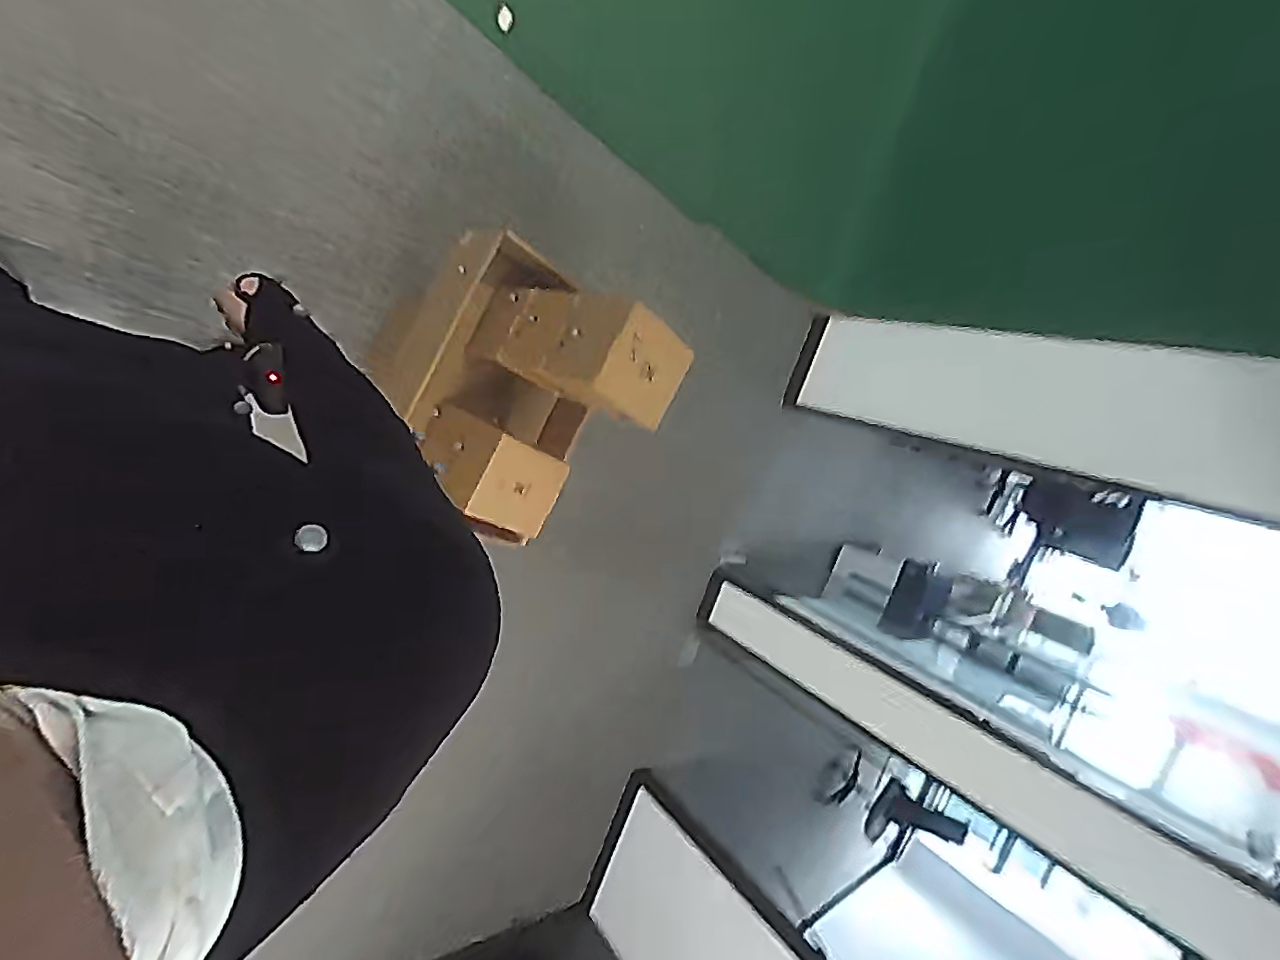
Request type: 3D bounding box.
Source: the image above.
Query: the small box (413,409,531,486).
[{"bbox_3d":[-0.384,-0.048,1.230,0.179,0.176,0.168,30,87,-45],"label":"small box"}]

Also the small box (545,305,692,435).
[{"bbox_3d":[-0.042,-0.210,1.008,0.179,0.176,0.168,31,86,-44],"label":"small box"}]

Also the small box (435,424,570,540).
[{"bbox_3d":[-0.284,0.000,1.110,0.179,0.176,0.168,29,86,-44],"label":"small box"}]

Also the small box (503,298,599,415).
[{"bbox_3d":[-0.149,-0.261,1.123,0.179,0.176,0.168,30,87,-44],"label":"small box"}]
